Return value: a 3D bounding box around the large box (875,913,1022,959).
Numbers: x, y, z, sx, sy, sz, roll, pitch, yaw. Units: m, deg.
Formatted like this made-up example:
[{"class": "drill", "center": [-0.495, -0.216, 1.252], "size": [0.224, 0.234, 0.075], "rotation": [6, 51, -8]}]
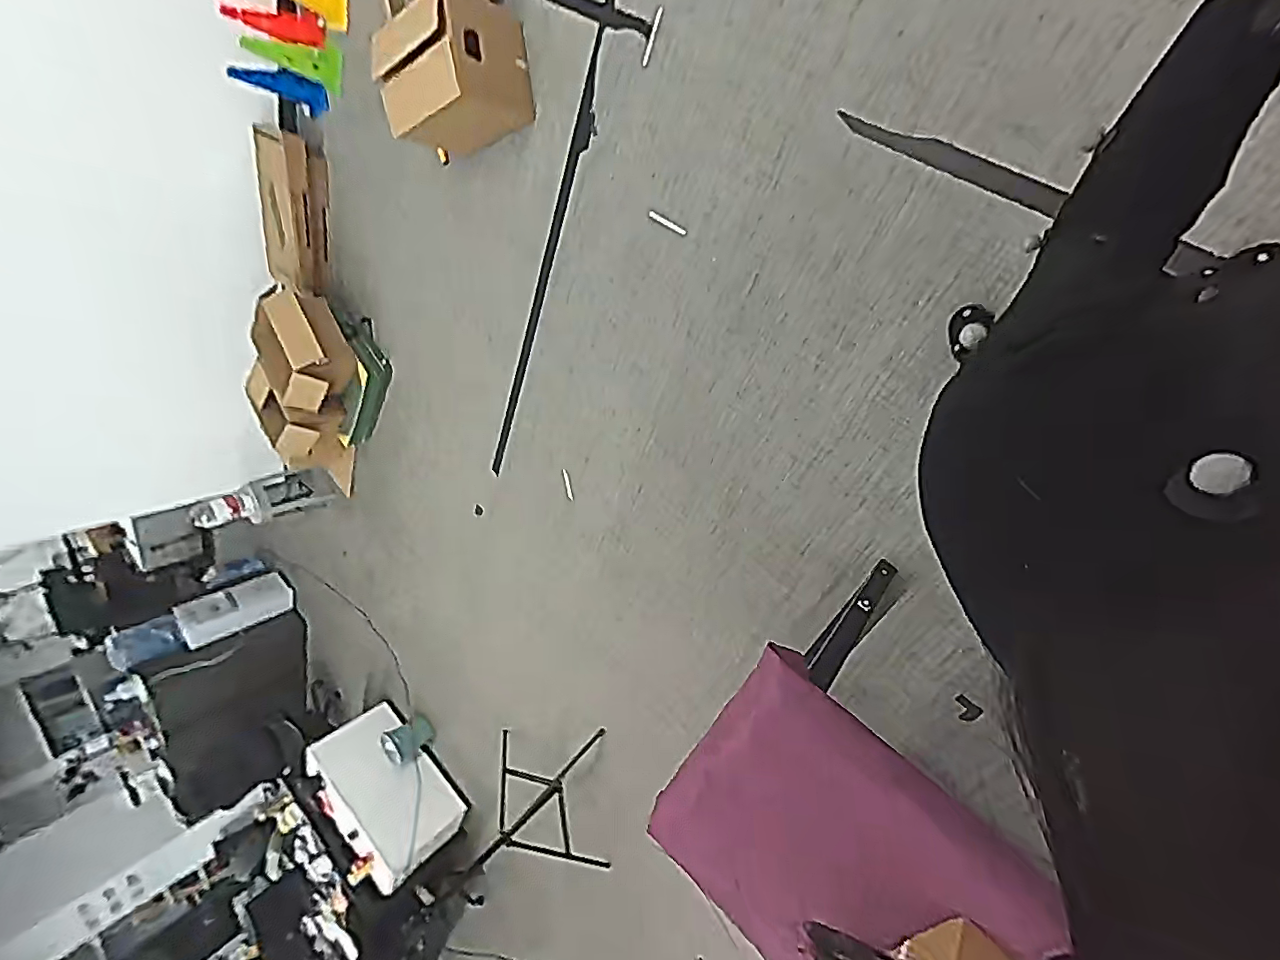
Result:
[{"class": "large box", "center": [0.547, 0.976, 0.784], "size": [0.408, 0.320, 0.320], "rotation": [39, 125, 24]}]
